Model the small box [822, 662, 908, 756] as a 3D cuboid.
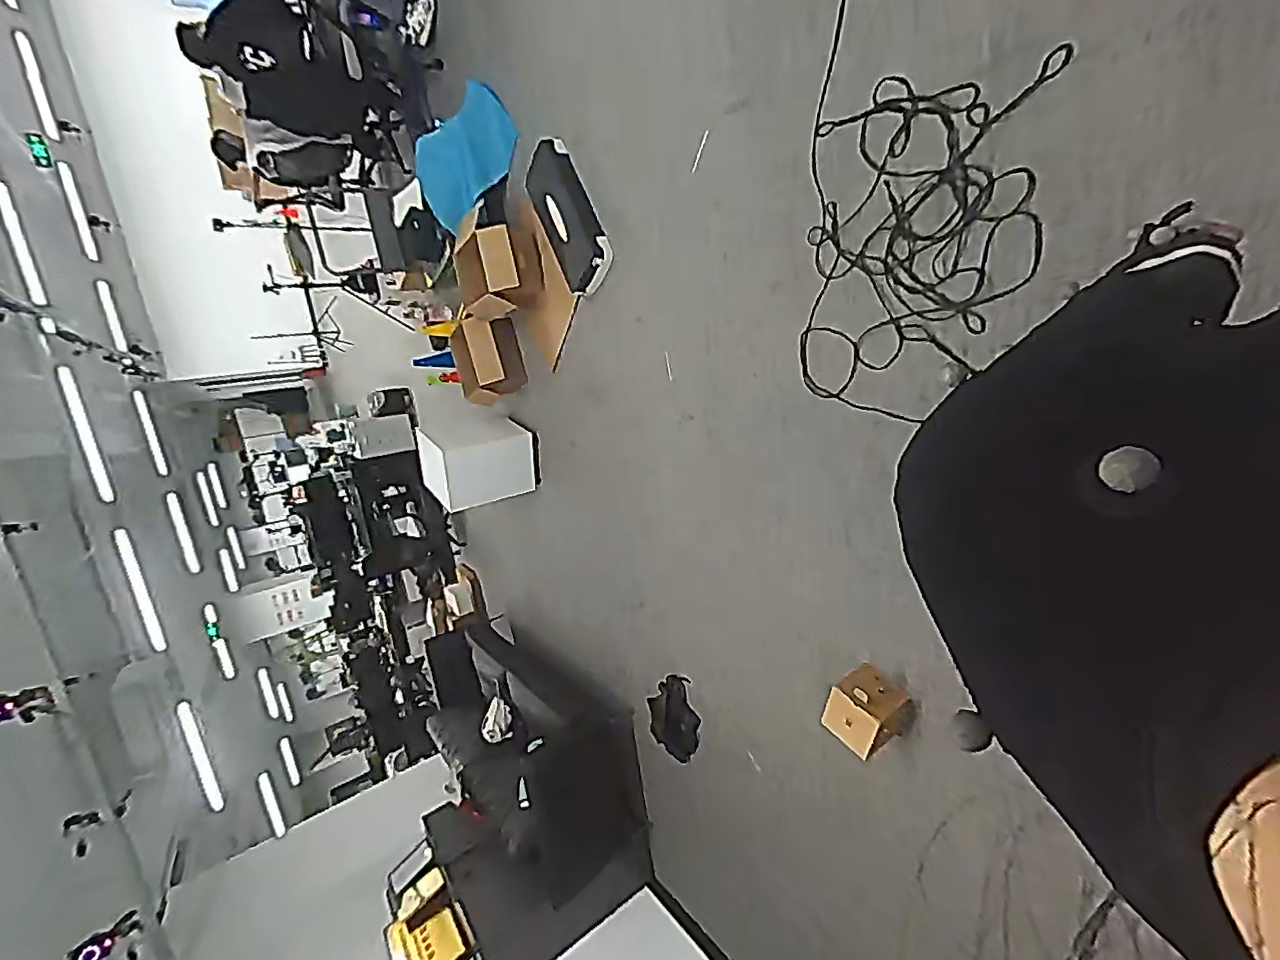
[{"bbox_3d":[0.705,0.711,1.692,0.168,0.176,0.179,36,131,44],"label":"small box"}]
